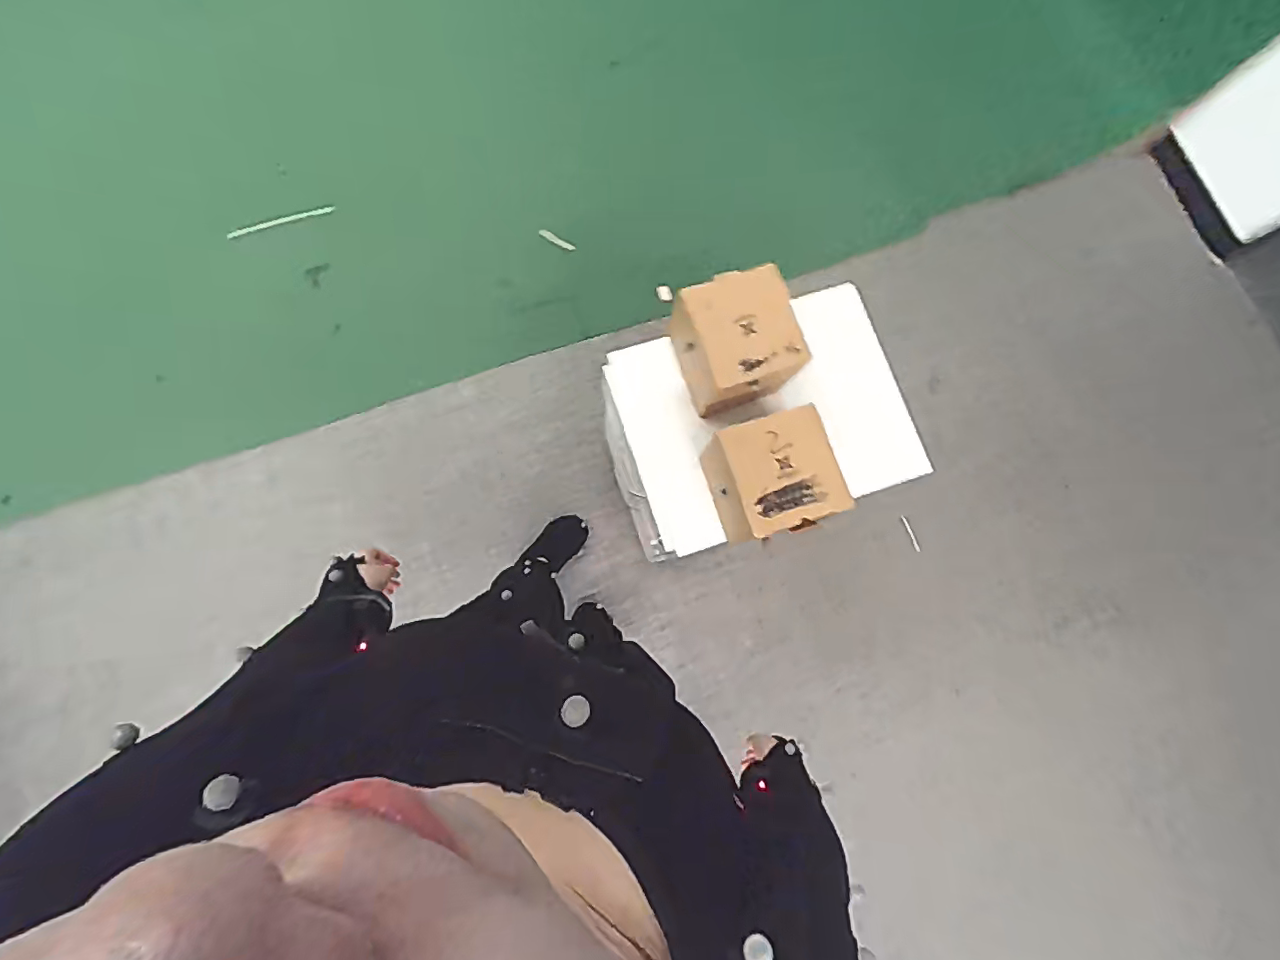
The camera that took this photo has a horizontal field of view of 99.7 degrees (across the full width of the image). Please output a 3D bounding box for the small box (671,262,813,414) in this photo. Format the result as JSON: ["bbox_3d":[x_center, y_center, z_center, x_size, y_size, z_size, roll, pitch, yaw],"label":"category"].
[{"bbox_3d":[0.163,-0.236,0.932,0.168,0.176,0.179,-18,82,-8],"label":"small box"}]
